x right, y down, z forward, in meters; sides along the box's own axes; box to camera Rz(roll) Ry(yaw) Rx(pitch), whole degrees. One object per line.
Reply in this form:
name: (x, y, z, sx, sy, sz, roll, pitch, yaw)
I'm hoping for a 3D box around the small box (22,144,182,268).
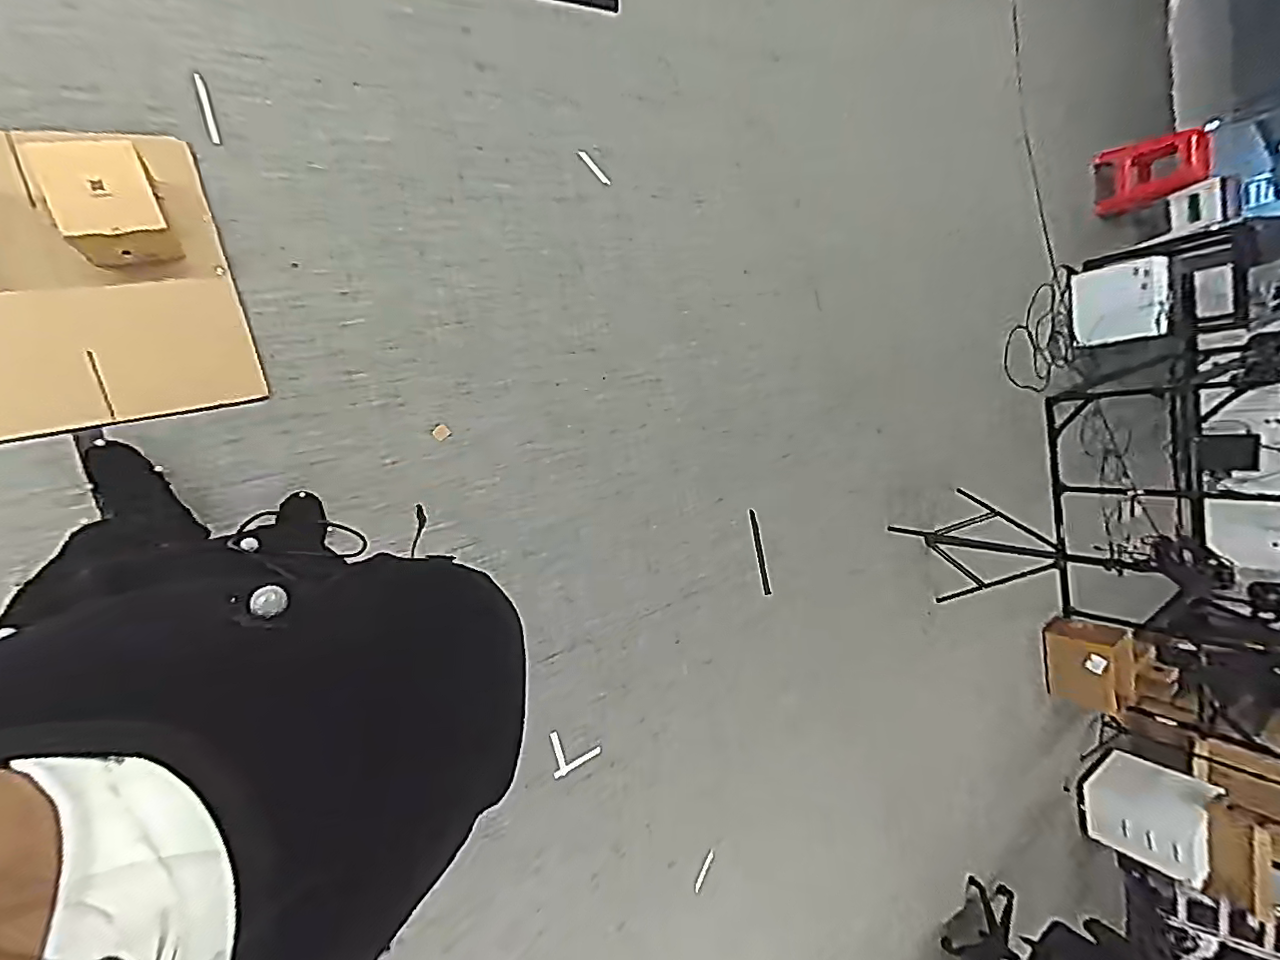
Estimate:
small box: (-1.101, -0.565, 1.124, 0.168, 0.176, 0.179, -22, 102, -28)
